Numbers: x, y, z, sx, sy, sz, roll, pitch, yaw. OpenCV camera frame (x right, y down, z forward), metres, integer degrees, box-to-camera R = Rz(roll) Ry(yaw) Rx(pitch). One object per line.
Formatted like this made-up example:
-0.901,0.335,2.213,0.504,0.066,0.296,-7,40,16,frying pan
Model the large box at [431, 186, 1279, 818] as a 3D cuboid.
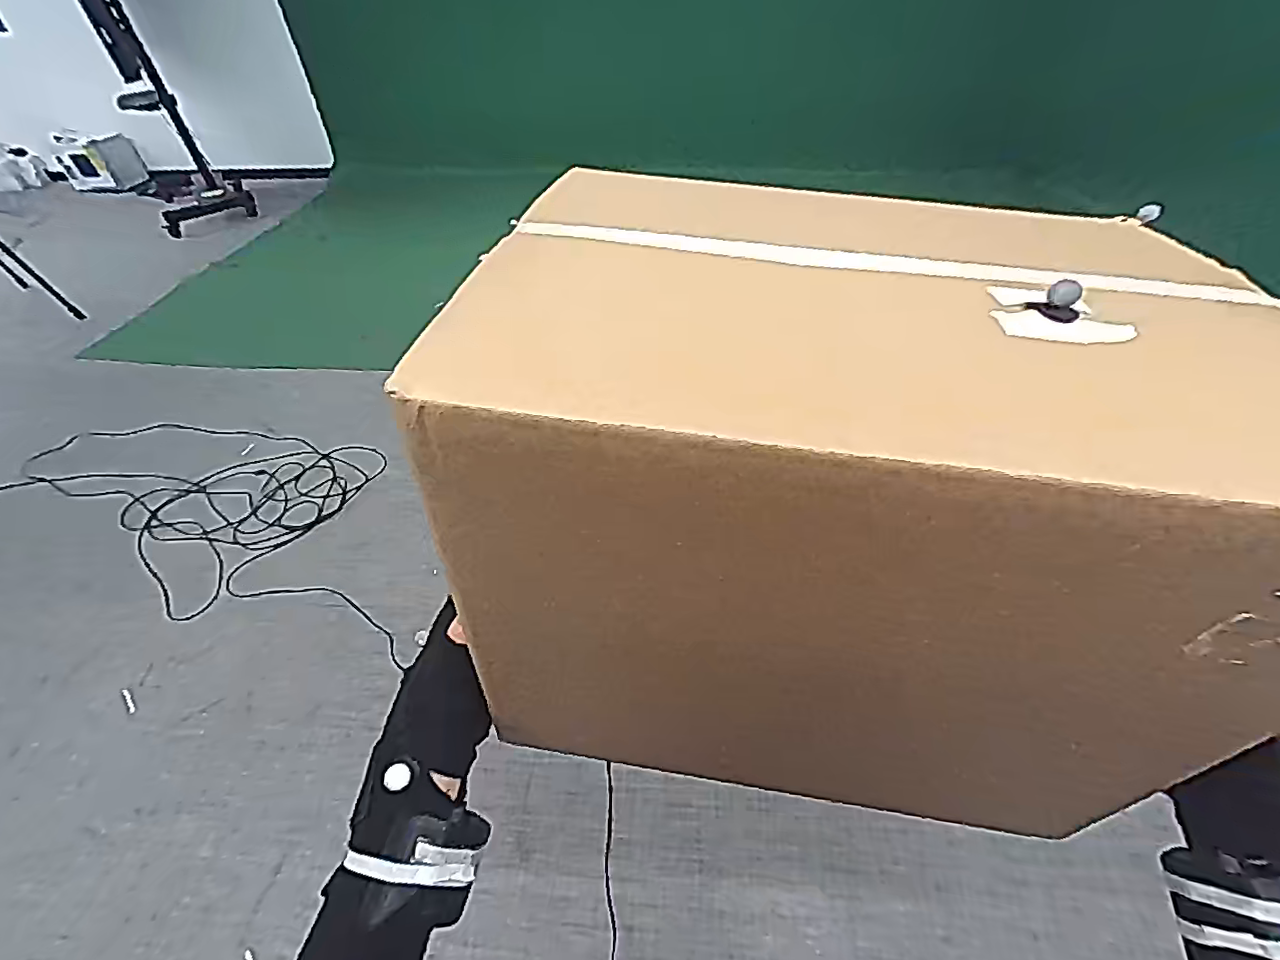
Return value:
0.122,0.006,0.403,0.408,0.320,0.320,8,44,4,large box
